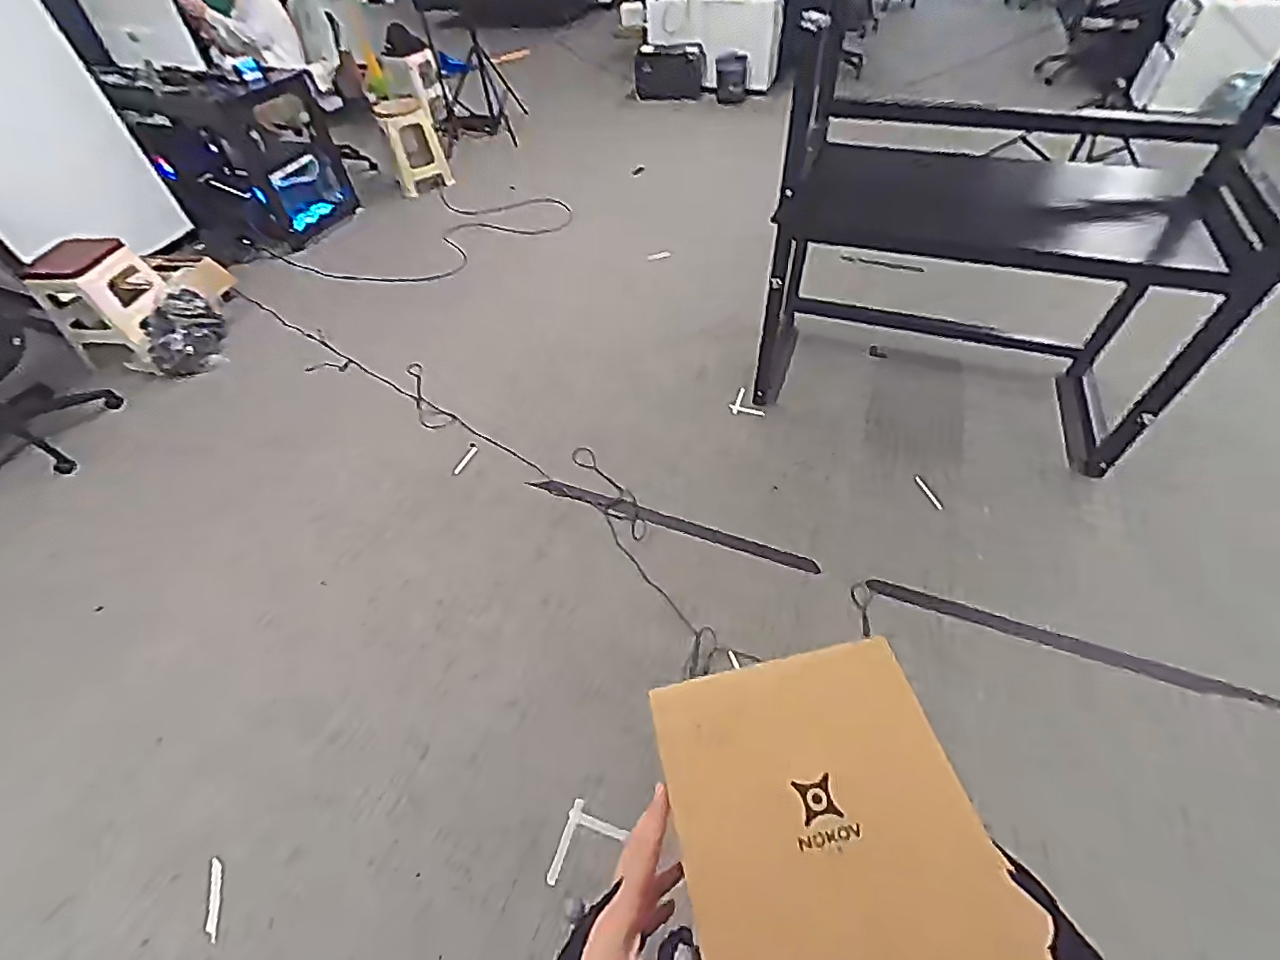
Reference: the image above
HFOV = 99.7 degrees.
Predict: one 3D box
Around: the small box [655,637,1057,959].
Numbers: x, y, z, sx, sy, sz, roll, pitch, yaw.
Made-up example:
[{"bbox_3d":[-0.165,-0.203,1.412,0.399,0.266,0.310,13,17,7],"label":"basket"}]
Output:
[{"bbox_3d":[0.109,0.236,0.364,0.168,0.176,0.179,-12,50,-4],"label":"small box"}]
